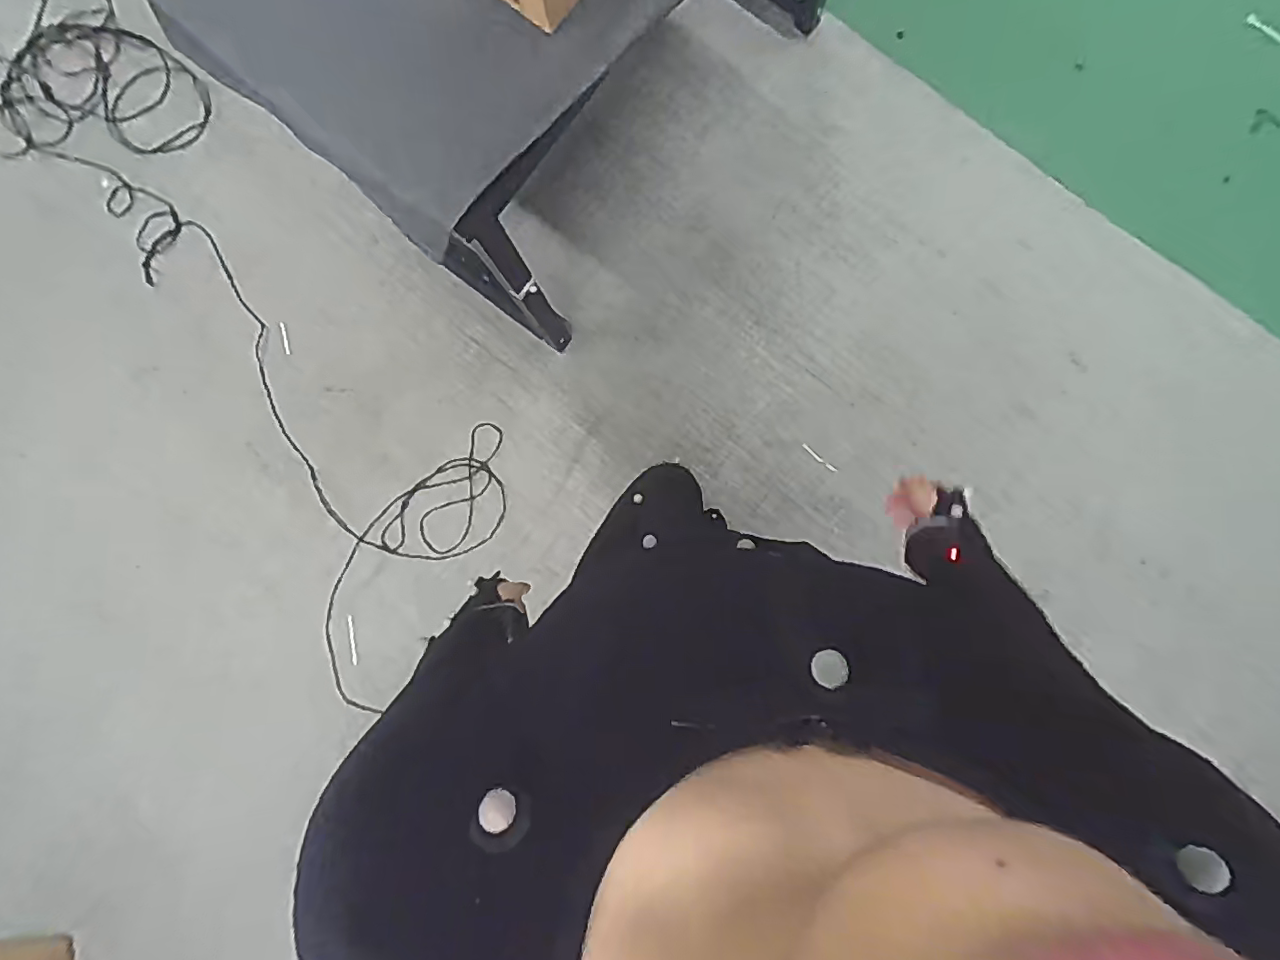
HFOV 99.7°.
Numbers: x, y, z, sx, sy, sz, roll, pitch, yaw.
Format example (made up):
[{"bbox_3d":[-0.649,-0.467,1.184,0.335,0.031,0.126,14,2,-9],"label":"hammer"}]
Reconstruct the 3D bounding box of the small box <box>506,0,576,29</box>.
[{"bbox_3d":[-0.141,-0.762,0.702,0.168,0.176,0.179,39,91,4],"label":"small box"}]
